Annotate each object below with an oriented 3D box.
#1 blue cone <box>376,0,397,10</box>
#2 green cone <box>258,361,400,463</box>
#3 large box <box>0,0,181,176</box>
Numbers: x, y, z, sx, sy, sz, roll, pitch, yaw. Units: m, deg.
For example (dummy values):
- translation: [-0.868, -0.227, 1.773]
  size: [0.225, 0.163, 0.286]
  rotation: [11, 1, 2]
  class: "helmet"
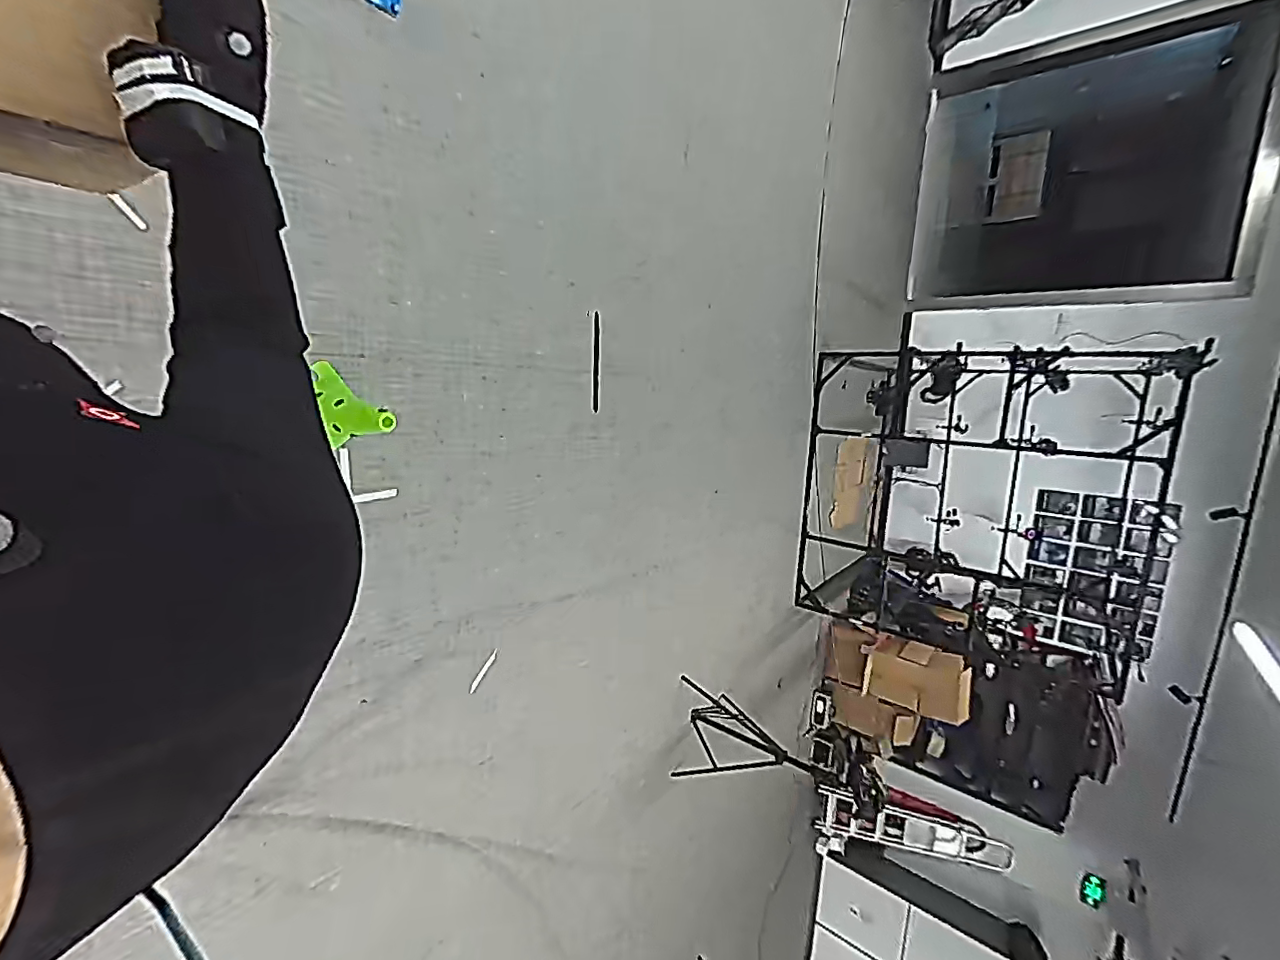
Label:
- translation: [-0.551, -1.273, 1.220]
  size: [0.192, 0.380, 0.193]
  rotation: [-5, 102, -53]
  class: "blue cone"
- translation: [-0.686, -0.150, 1.275]
  size: [0.202, 0.368, 0.200]
  rotation: [-54, 137, -32]
  class: "green cone"
- translation: [-0.584, -0.422, 0.322]
  size: [0.408, 0.320, 0.320]
  rotation: [-10, 112, -51]
  class: "large box"
